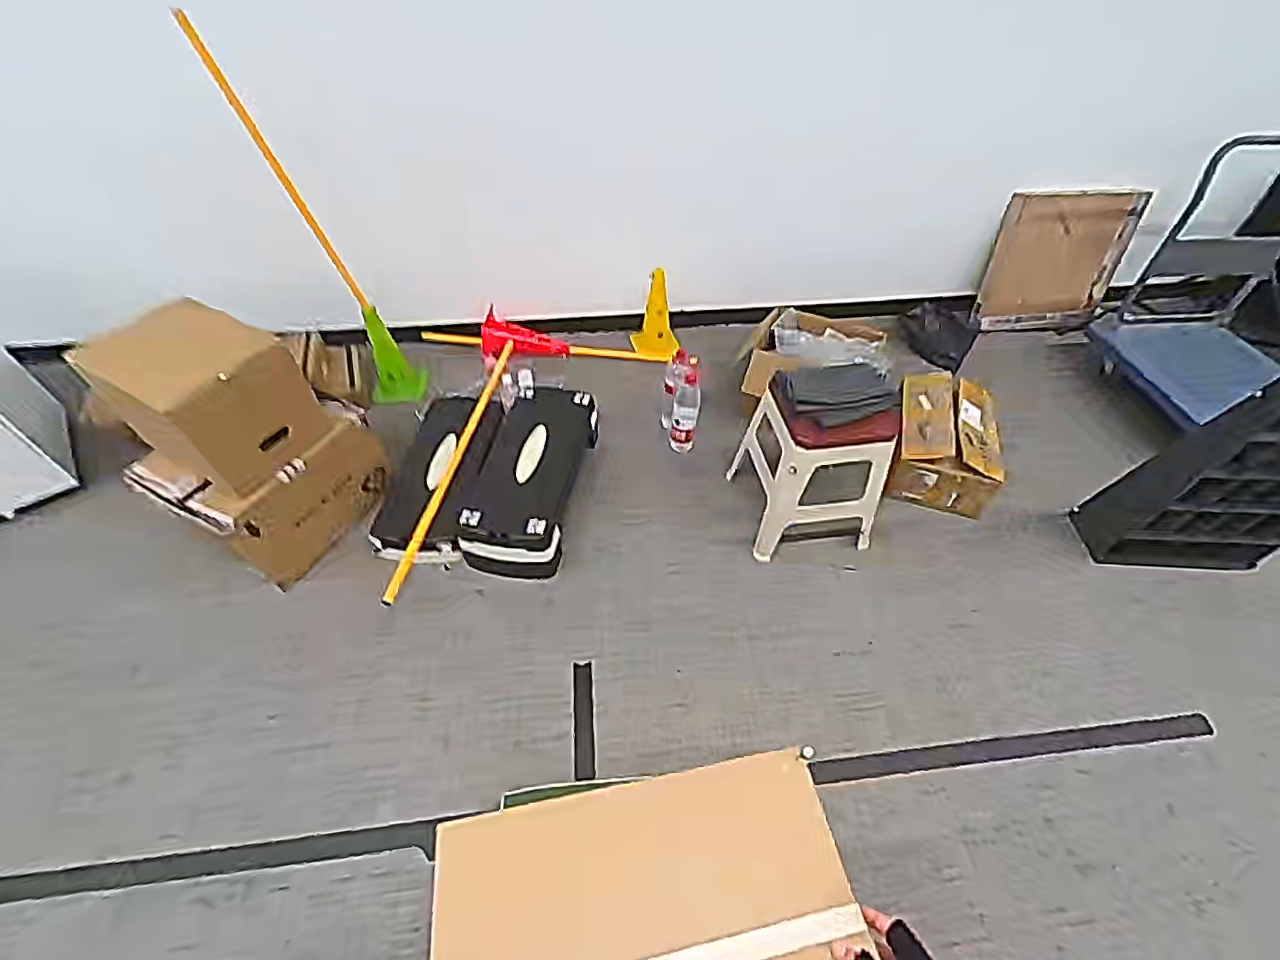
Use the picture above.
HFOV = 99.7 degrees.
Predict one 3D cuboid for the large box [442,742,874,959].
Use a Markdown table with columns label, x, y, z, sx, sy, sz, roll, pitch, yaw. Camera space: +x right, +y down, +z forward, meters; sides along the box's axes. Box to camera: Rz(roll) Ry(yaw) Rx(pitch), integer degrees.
| label | x | y | z | sx | sy | sz | roll | pitch | yaw |
| --- | --- | --- | --- | --- | --- | --- | --- | --- | --- |
| large box | 0.014 | 0.548 | 0.616 | 0.408 | 0.320 | 0.320 | -8 | 50 | -8 |
